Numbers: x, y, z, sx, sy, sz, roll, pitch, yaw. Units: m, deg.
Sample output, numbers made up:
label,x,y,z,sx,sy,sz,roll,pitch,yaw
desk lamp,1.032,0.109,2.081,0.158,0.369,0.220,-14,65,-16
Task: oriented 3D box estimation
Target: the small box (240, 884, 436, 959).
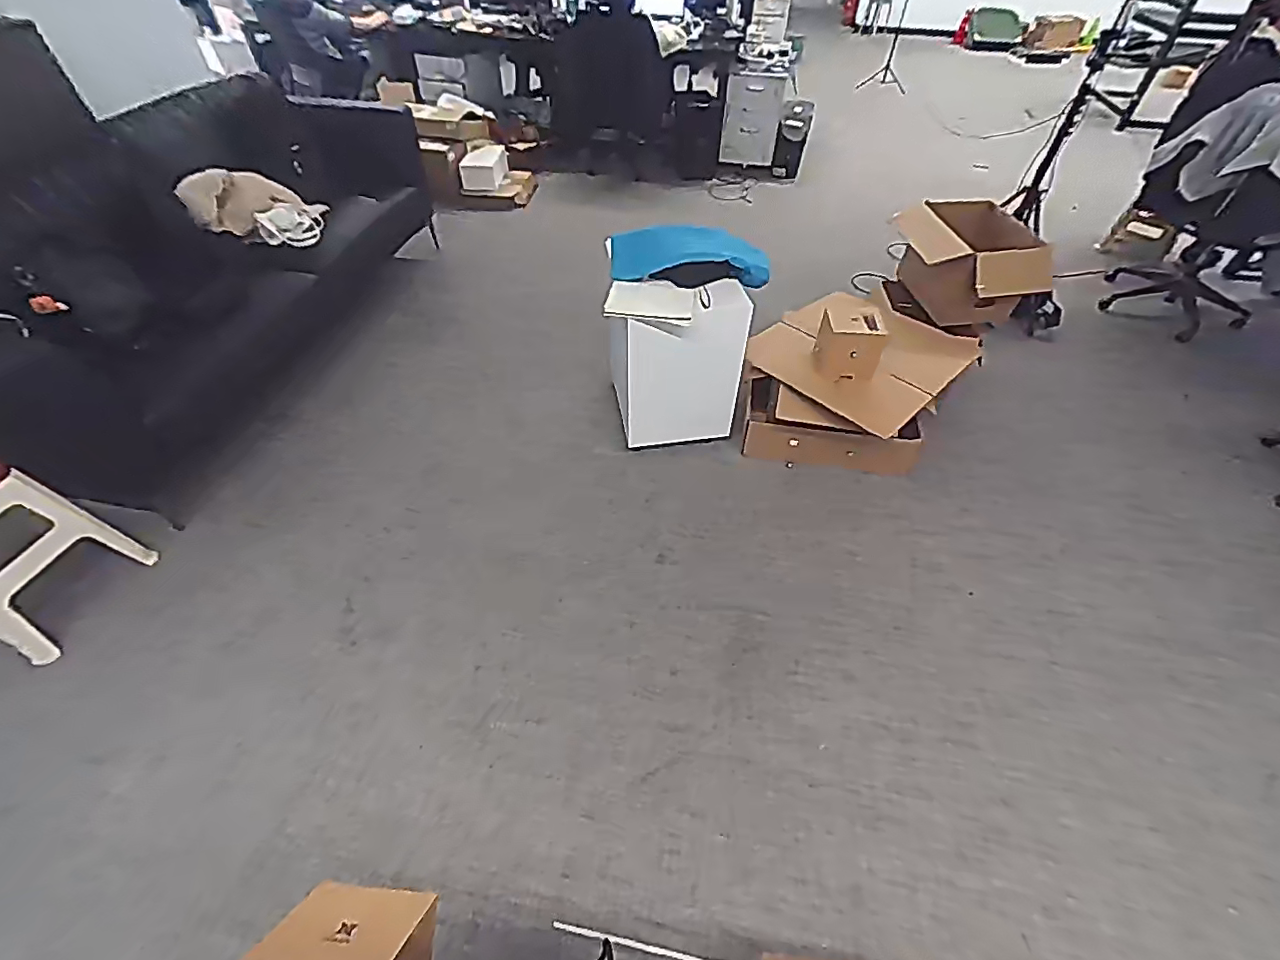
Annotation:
label,x,y,z,sx,sy,sz,roll,pitch,yaw
small box,-0.371,0.636,0.652,0.168,0.179,0.176,3,82,3
